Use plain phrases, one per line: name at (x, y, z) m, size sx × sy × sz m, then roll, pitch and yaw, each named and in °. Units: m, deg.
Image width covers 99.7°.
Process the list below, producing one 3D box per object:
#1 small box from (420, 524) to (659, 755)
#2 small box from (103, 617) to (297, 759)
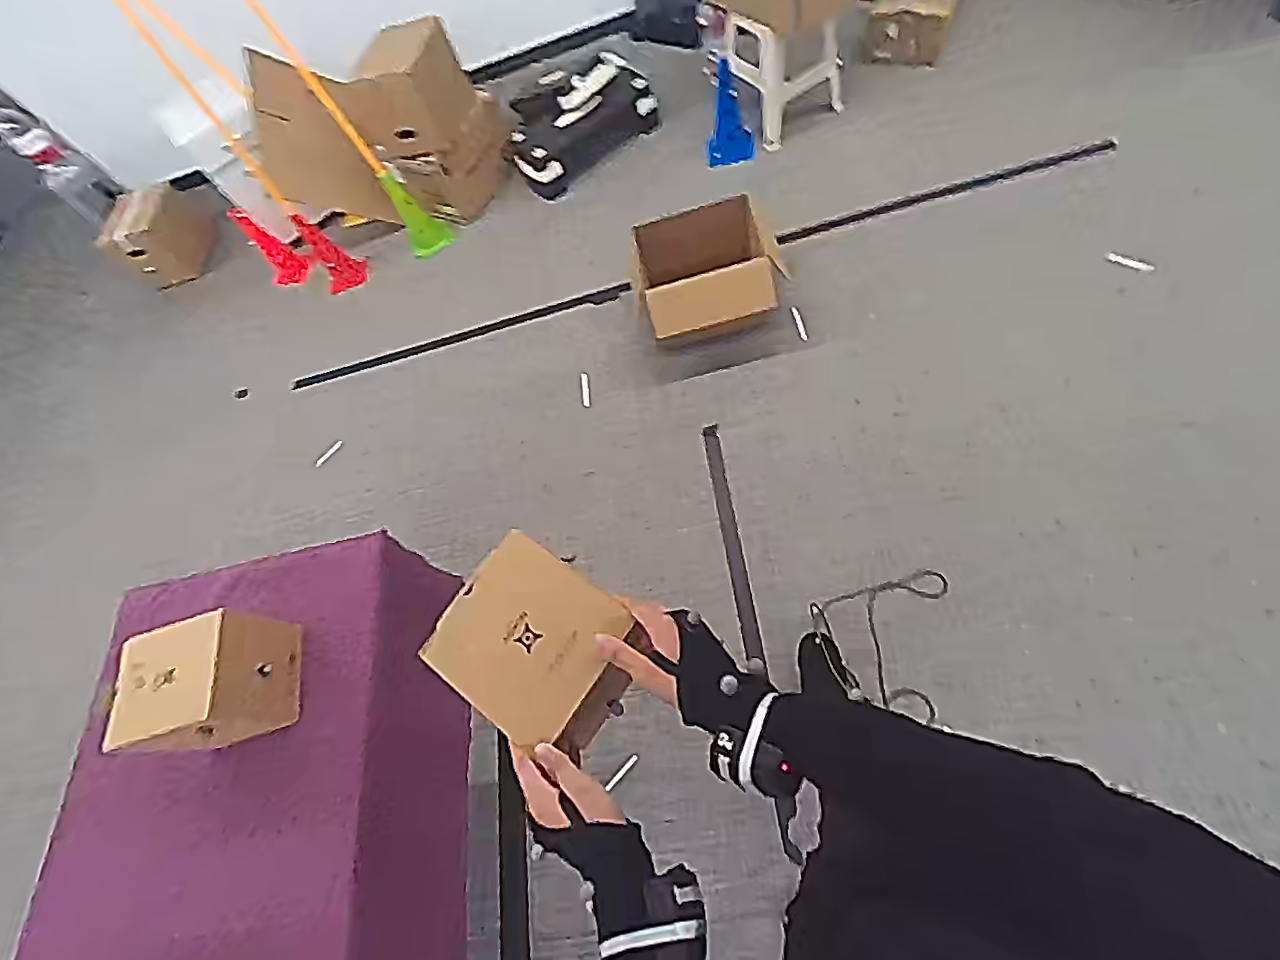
small box at (-0.101, 0.181, 0.617) m, size 0.179 × 0.176 × 0.168 m, roll 32°, pitch 79°, yaw 21°
small box at (-0.695, 0.339, 0.879) m, size 0.179 × 0.176 × 0.168 m, roll -20°, pitch 62°, yaw 6°
